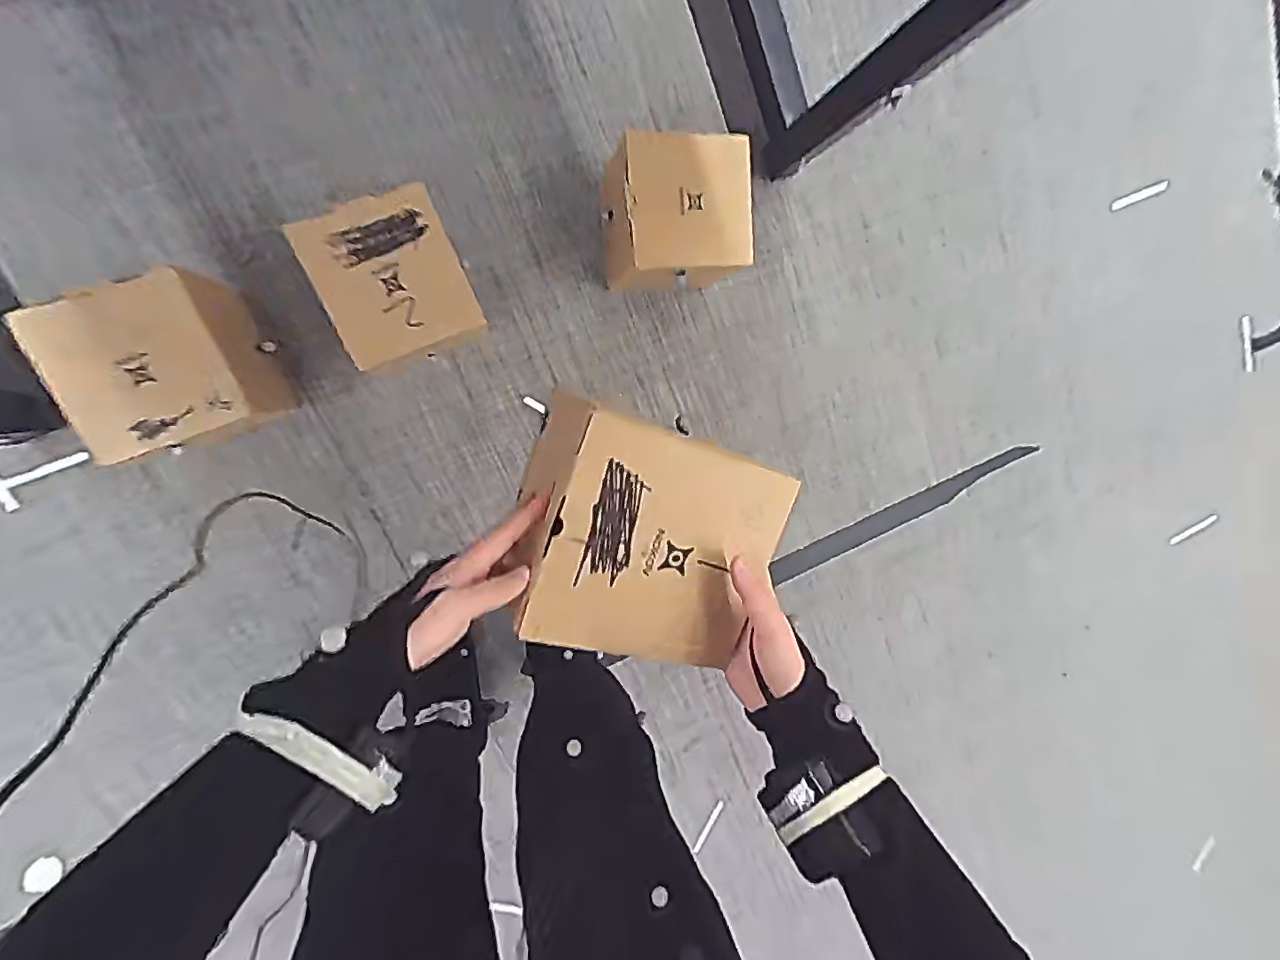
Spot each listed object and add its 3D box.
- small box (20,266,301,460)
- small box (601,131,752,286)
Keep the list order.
[{"bbox_3d":[-0.565,-0.137,0.670,0.168,0.176,0.179,-22,103,-11],"label":"small box"},{"bbox_3d":[0.048,-0.385,0.795,0.179,0.176,0.168,-7,101,-13],"label":"small box"}]
